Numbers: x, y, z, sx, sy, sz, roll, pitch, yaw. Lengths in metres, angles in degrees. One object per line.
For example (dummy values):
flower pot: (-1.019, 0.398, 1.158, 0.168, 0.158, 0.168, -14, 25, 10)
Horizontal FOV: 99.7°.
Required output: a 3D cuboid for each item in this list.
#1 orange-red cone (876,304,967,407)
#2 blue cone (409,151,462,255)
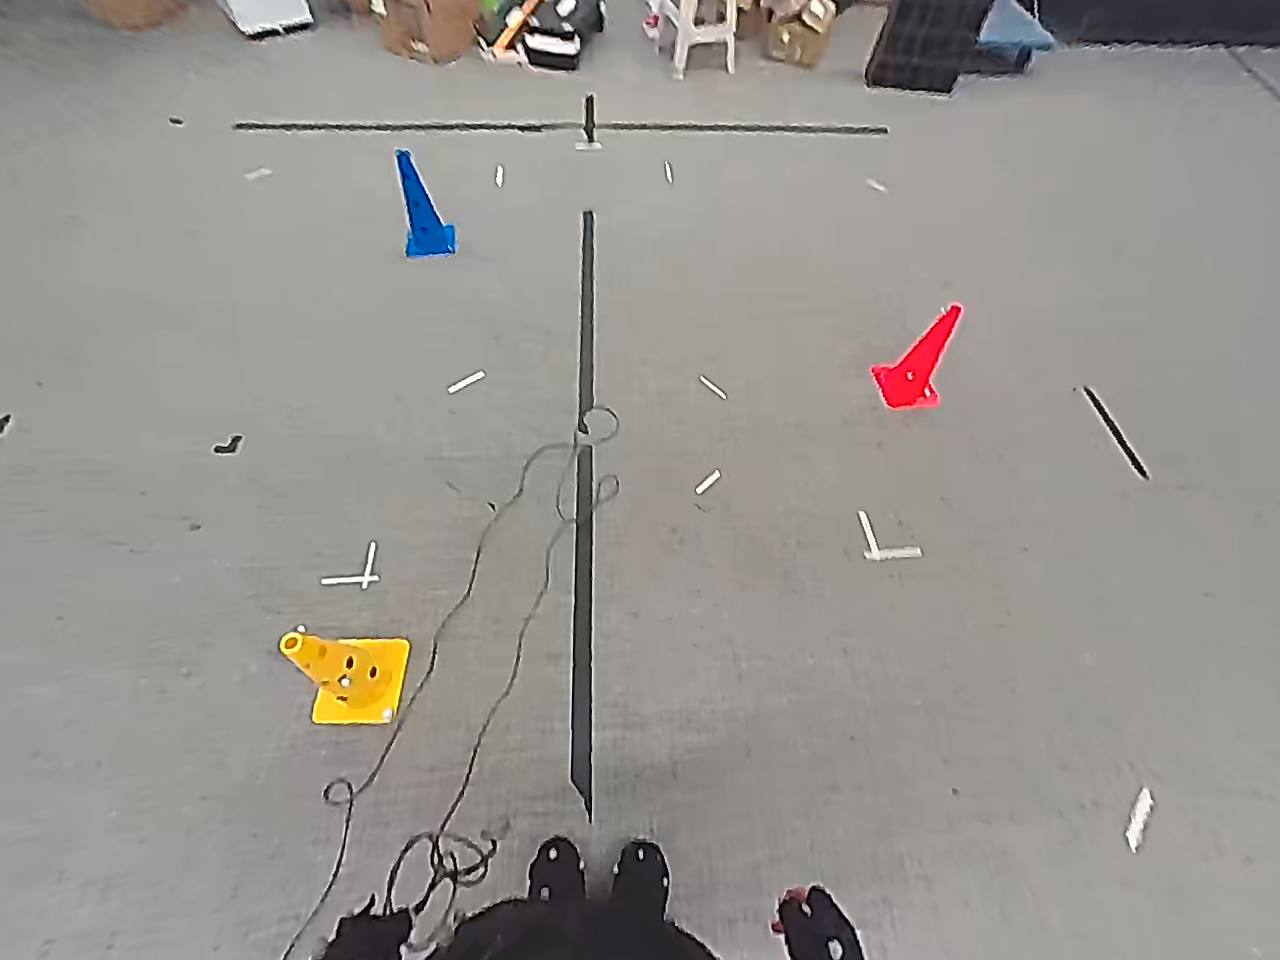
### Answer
orange-red cone: (0.969, -0.431, 1.793, 0.198, 0.360, 0.199, -4, 57, -6)
blue cone: (-0.842, -1.093, 2.130, 0.192, 0.380, 0.193, -5, 58, -6)
